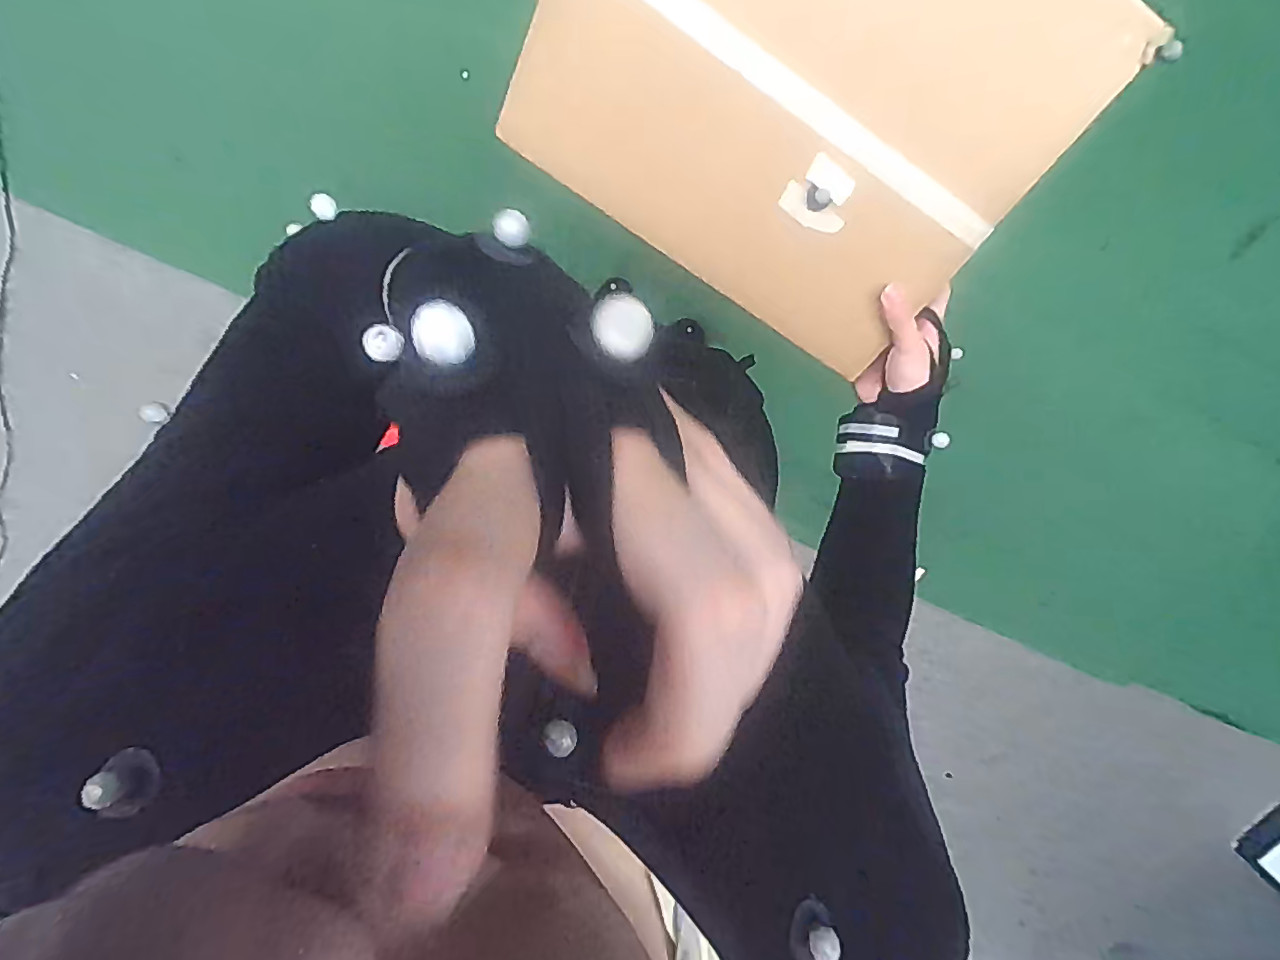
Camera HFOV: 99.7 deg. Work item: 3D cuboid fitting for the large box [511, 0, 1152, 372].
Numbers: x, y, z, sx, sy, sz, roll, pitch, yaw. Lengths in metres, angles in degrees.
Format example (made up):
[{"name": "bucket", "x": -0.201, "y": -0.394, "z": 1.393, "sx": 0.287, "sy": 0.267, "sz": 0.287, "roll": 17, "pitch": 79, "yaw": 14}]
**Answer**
[{"name": "large box", "x": 0.146, "y": -0.386, "z": 0.559, "sx": 0.408, "sy": 0.320, "sz": 0.320, "roll": 30, "pitch": 124, "yaw": -9}]
